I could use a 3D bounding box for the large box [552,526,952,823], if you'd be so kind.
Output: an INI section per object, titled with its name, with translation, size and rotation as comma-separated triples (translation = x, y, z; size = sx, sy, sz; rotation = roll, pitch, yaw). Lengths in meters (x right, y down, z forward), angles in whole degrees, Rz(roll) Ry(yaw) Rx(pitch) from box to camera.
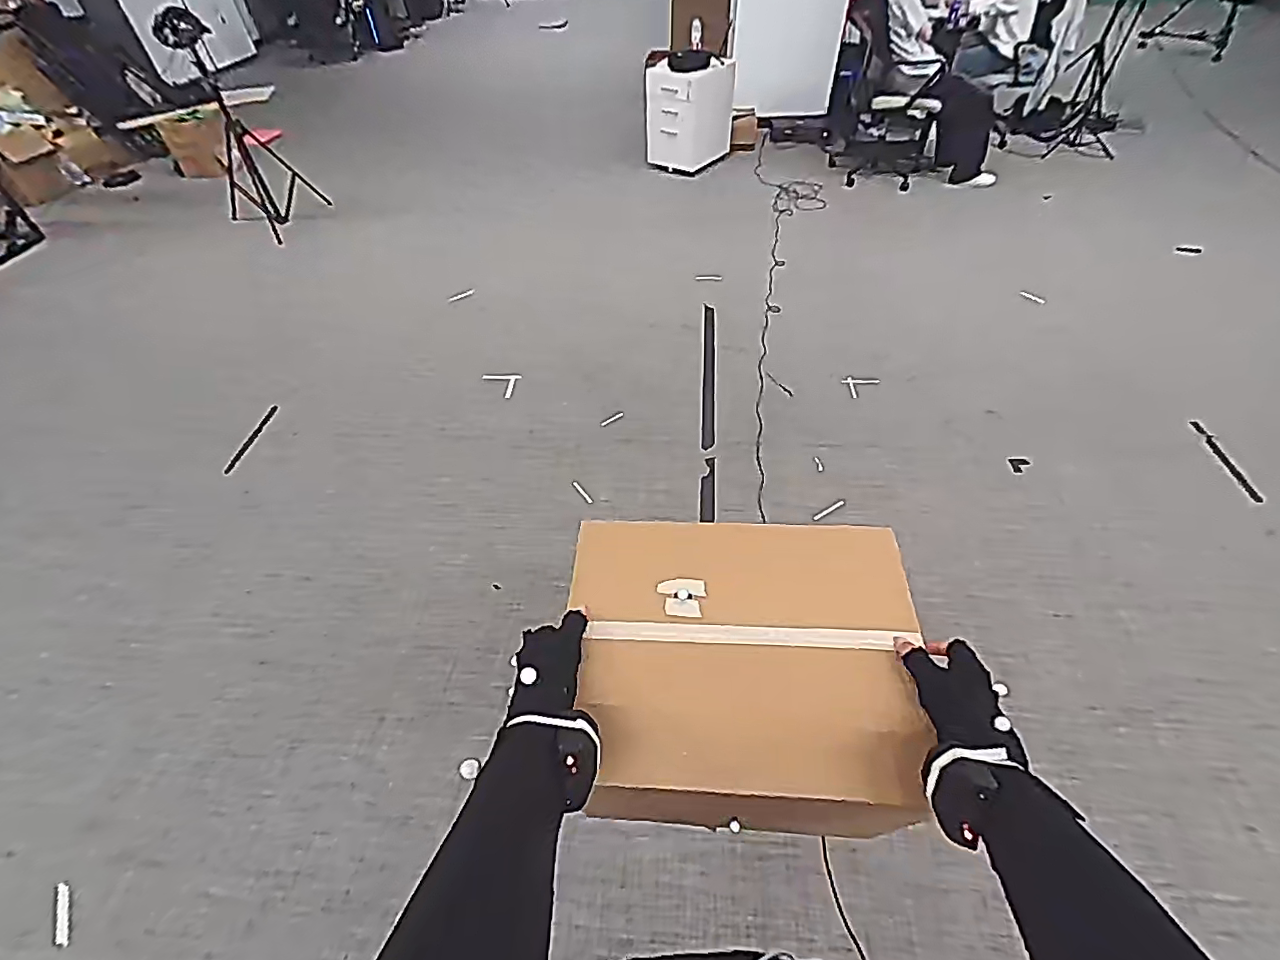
[large box]
translation = 0.126, 0.273, 0.745
size = 0.408, 0.320, 0.320
rotation = 0, 52, 5
